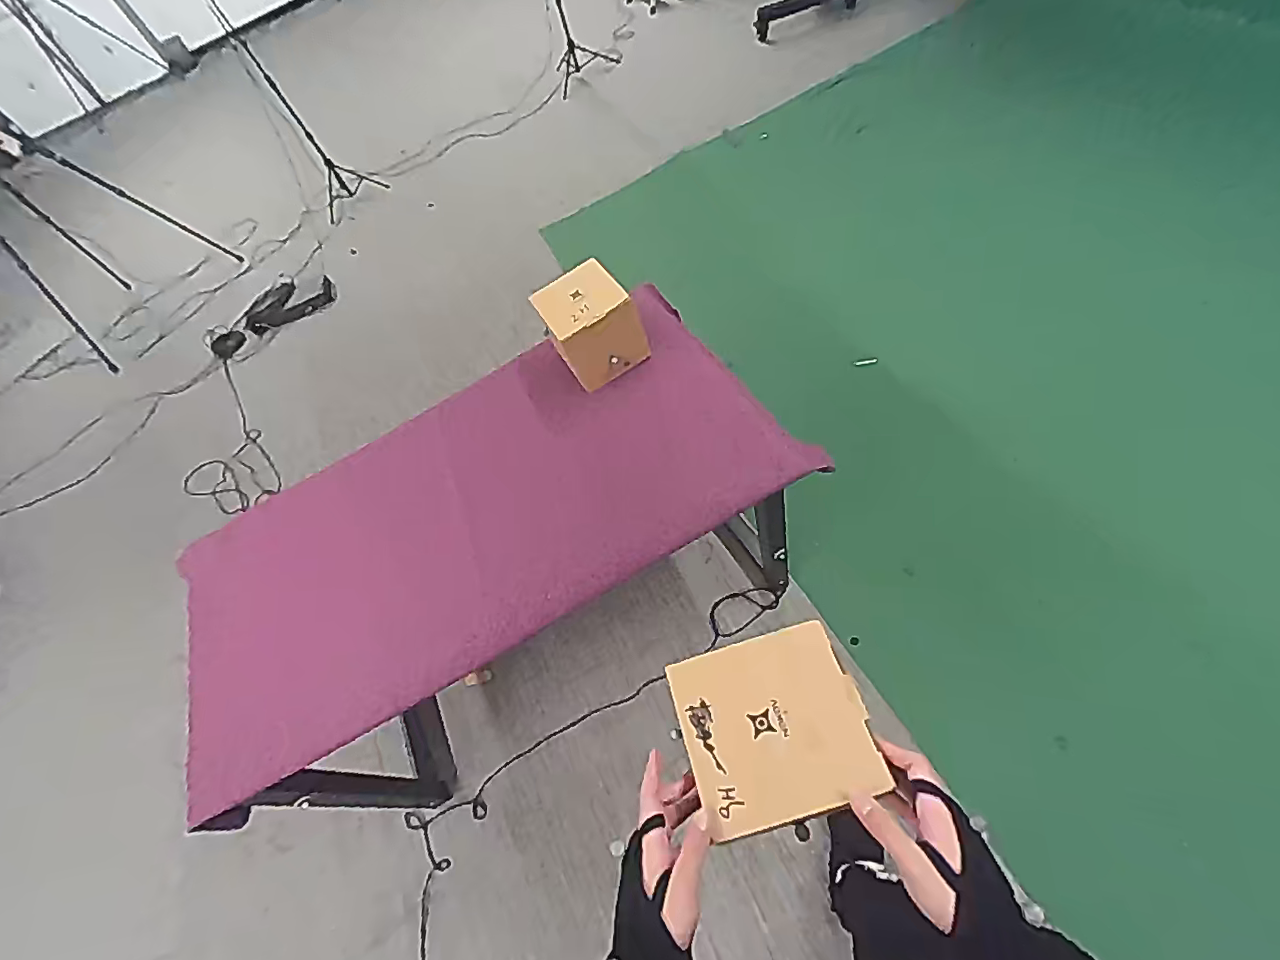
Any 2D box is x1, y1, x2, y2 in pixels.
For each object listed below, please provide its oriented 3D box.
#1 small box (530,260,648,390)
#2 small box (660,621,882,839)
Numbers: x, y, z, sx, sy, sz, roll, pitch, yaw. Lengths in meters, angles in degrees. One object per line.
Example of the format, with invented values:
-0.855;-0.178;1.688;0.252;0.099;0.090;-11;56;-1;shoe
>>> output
-0.106;-0.328;1.165;0.168;0.176;0.179;-34;57;-1;small box
0.137;0.281;0.604;0.179;0.176;0.168;-18;55;2;small box
